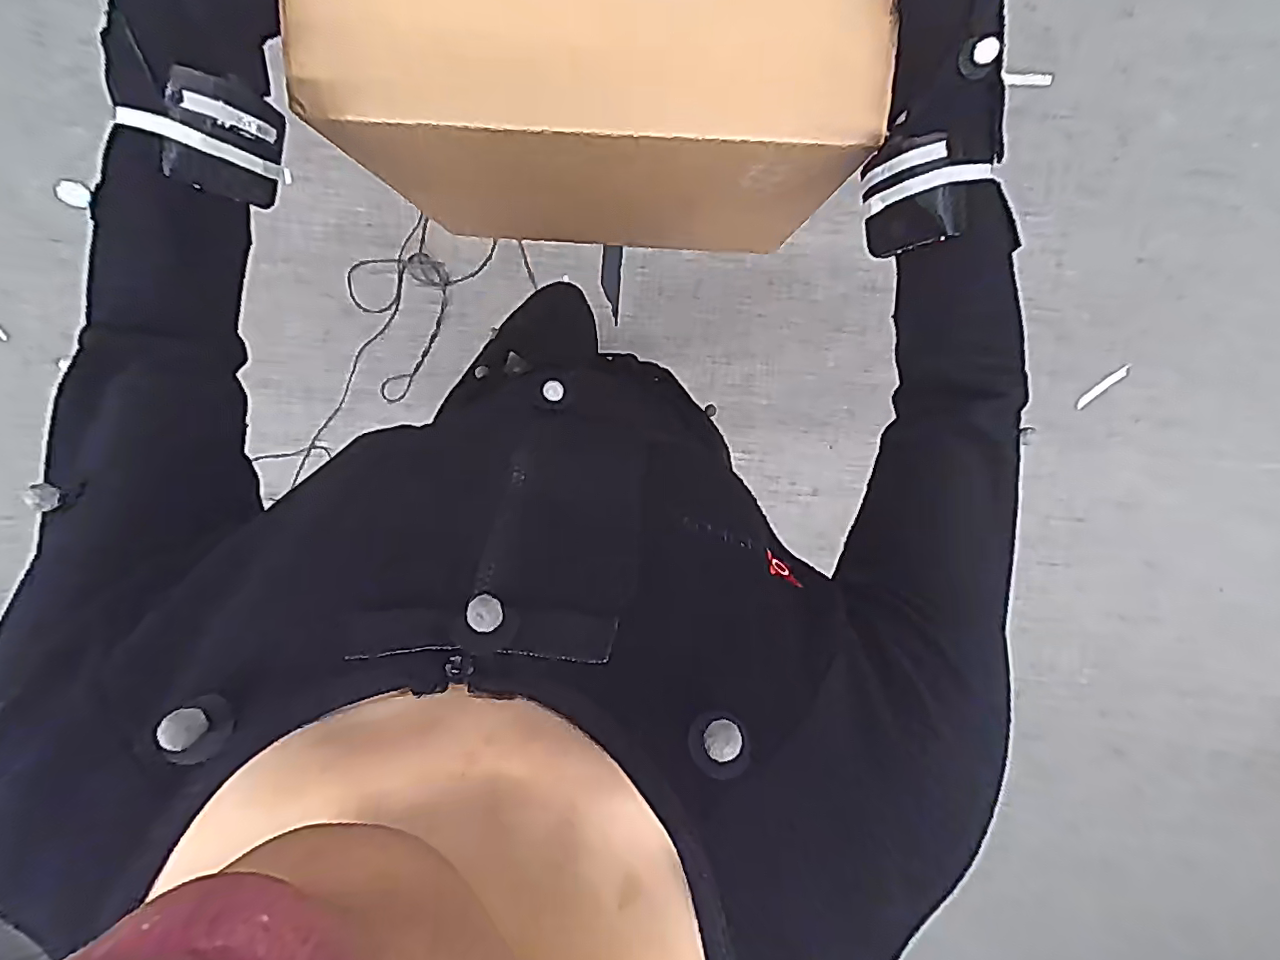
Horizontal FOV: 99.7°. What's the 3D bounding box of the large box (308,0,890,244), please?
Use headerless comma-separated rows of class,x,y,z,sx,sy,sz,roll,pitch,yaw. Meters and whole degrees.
large box,-0.026,-0.424,0.502,0.408,0.320,0.320,3,100,-1
